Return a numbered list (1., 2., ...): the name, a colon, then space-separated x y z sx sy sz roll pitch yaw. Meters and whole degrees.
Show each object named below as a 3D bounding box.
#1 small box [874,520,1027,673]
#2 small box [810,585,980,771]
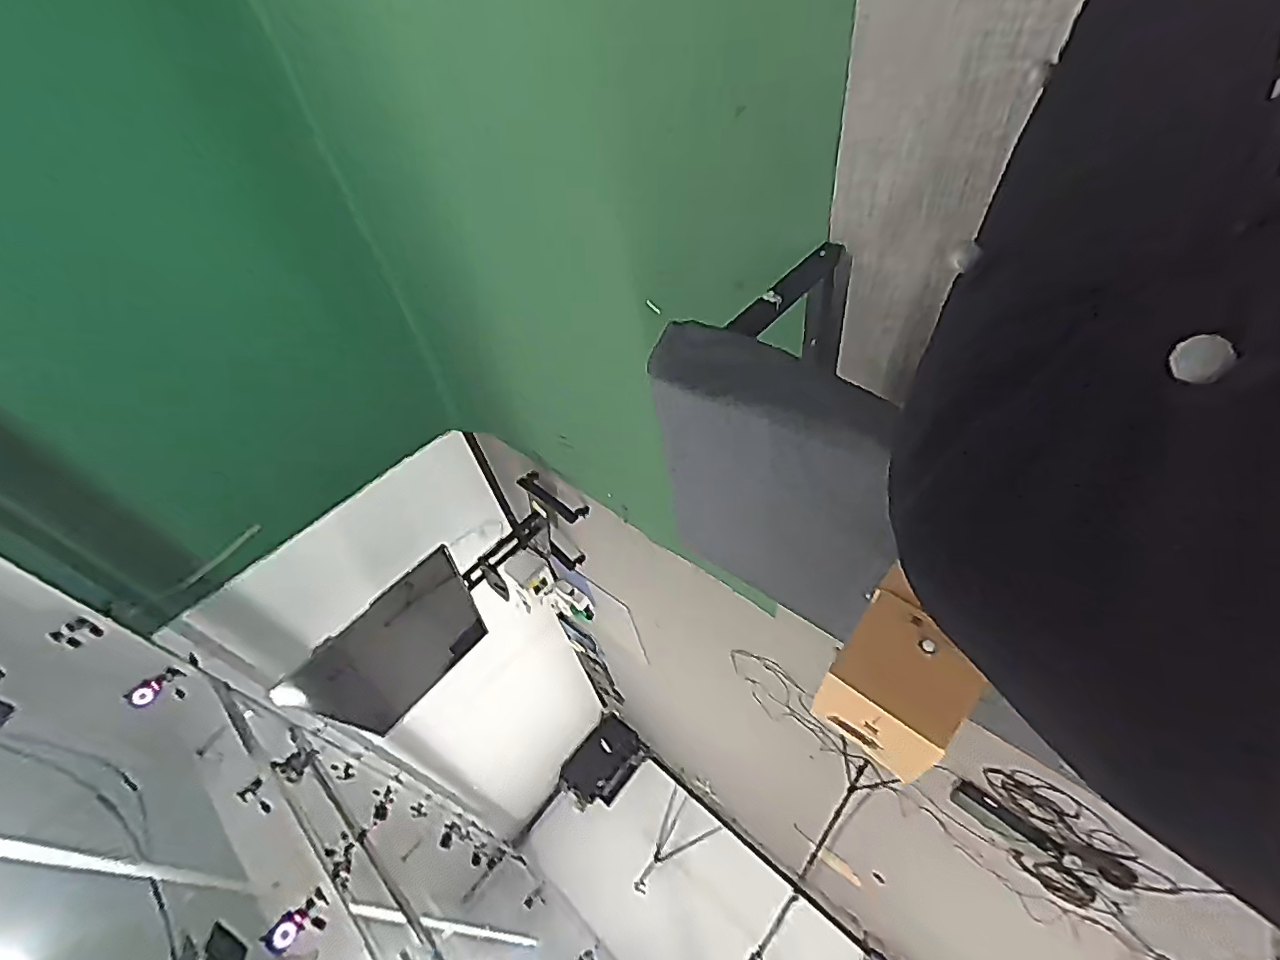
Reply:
1. small box: 0.491 0.196 0.888 0.179 0.176 0.168 31 151 30
2. small box: 0.379 0.295 0.819 0.168 0.176 0.179 31 152 32
